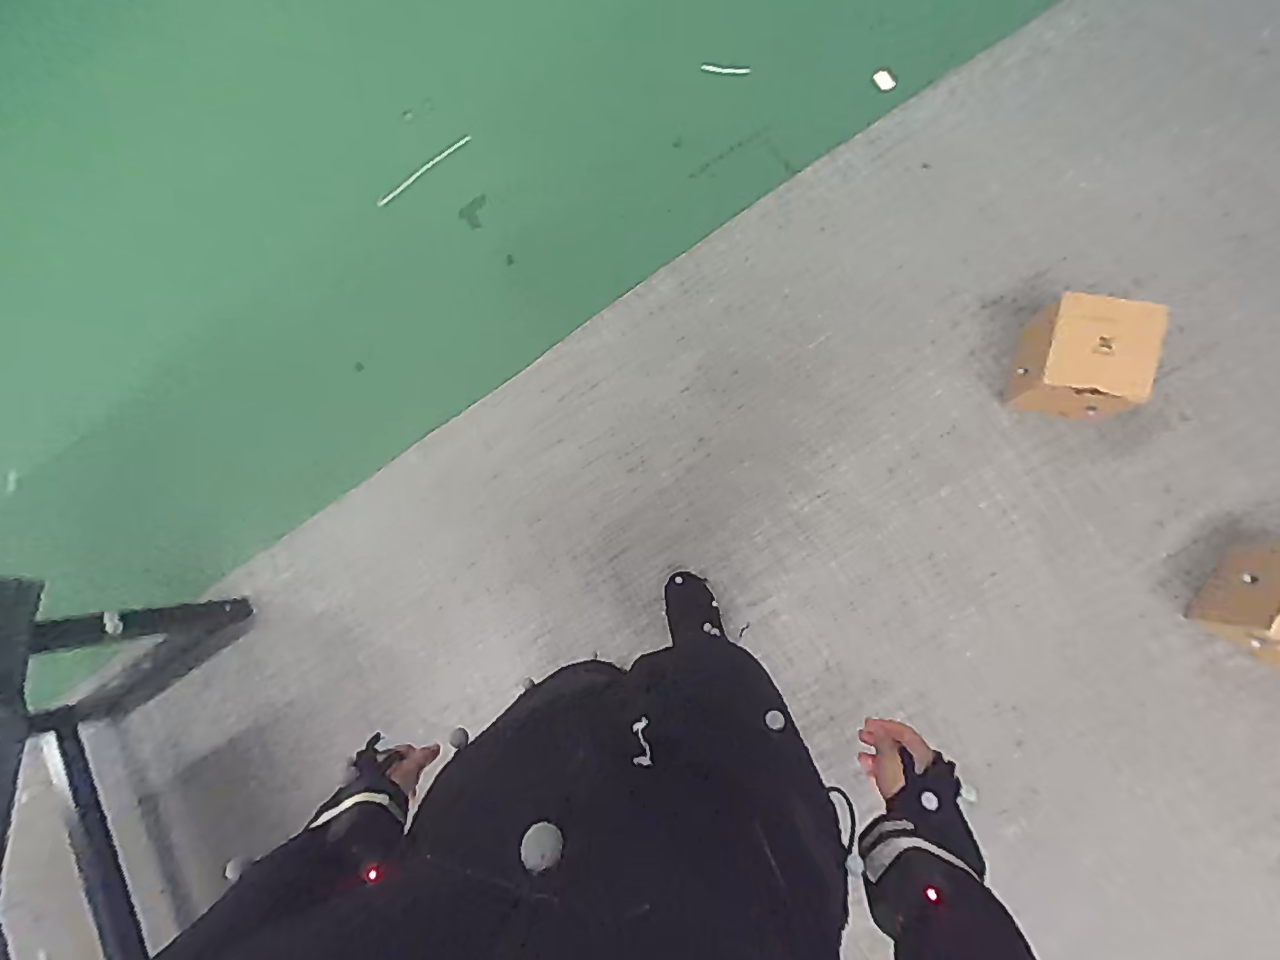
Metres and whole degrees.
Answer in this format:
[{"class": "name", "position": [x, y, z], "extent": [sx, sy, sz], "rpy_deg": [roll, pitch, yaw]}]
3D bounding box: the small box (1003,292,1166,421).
[{"class": "small box", "position": [0.814, -0.222, 1.011], "extent": [0.168, 0.176, 0.179], "rpy_deg": [14, 85, 12]}]
